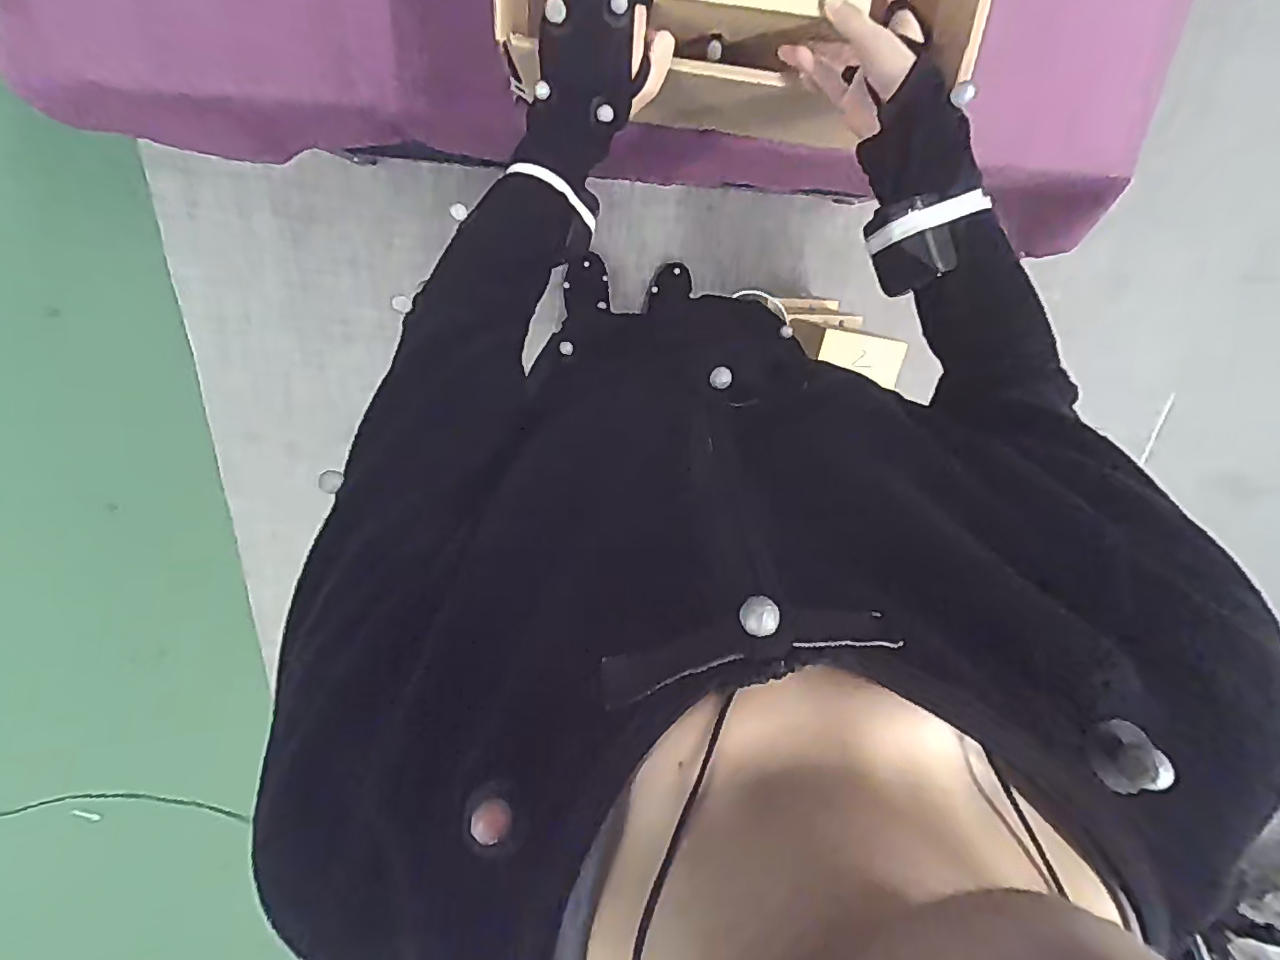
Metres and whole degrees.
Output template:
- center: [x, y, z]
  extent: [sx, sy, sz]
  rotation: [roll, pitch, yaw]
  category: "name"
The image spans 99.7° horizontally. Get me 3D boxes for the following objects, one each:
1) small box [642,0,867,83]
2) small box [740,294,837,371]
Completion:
- center: [0.093, -0.461, 0.451]
  extent: [0.168, 0.176, 0.179]
  rotation: [2, 112, -6]
  category: "small box"
- center: [0.369, -0.377, 1.370]
  extent: [0.179, 0.176, 0.168]
  rotation: [1, 113, -6]
  category: "small box"
